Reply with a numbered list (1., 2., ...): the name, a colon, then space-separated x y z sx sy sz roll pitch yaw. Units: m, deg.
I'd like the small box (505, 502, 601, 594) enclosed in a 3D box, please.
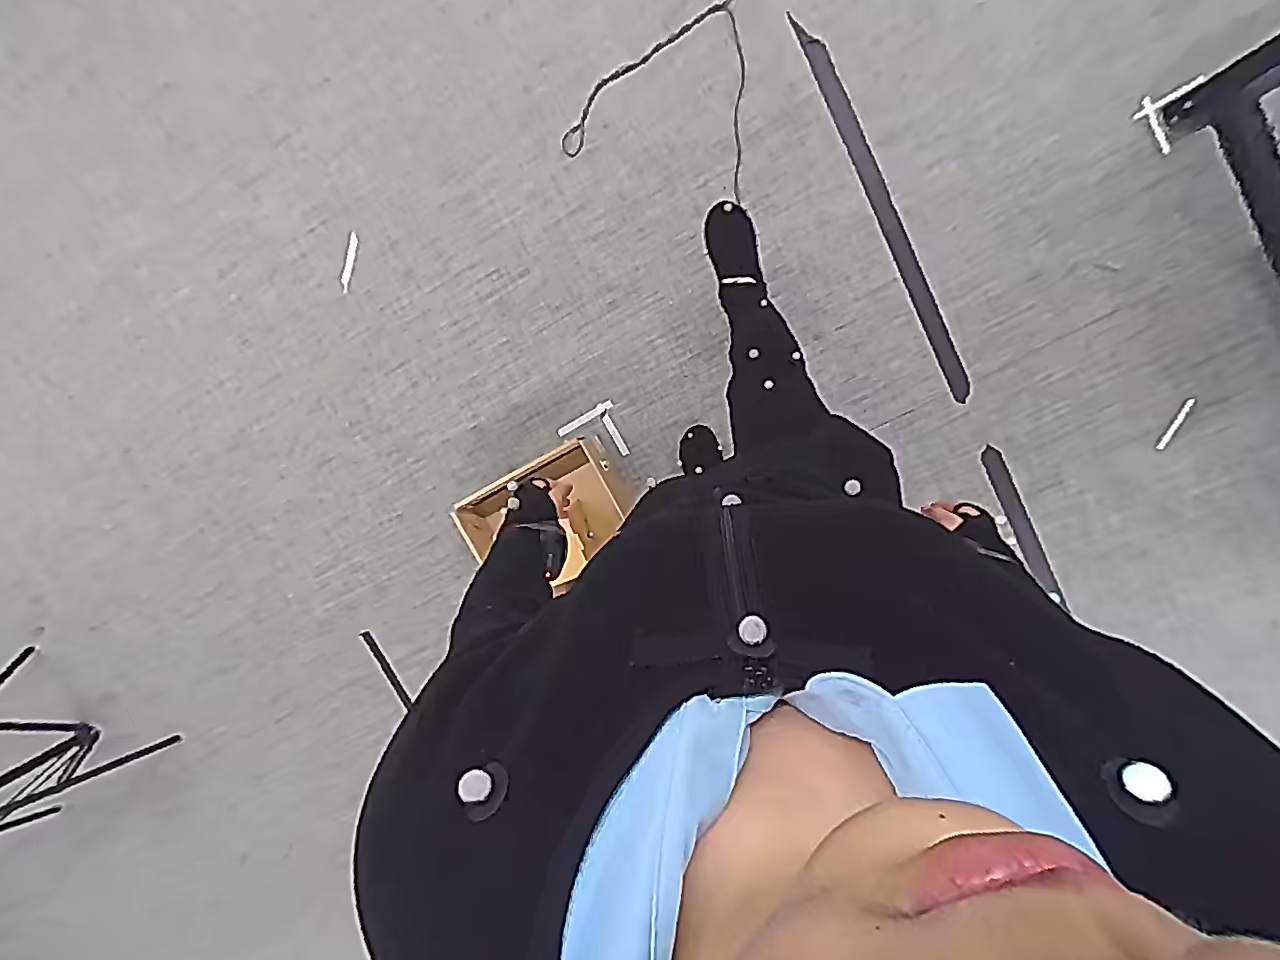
1. small box: -0.222 0.174 1.430 0.179 0.176 0.168 -23 96 9
